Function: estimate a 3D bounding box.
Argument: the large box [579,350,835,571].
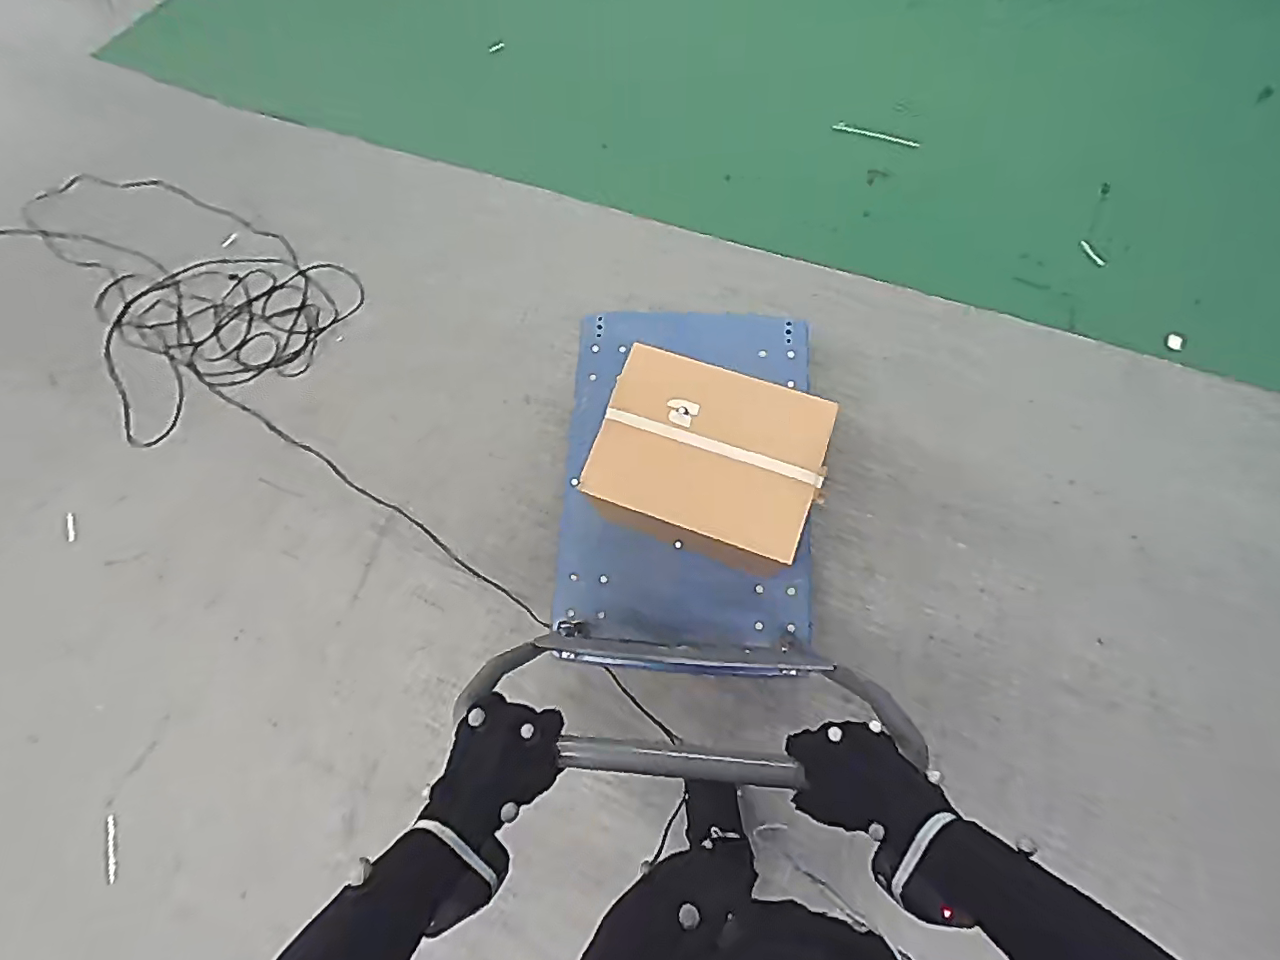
[{"bbox_3d":[0.138,-0.022,1.127,0.408,0.320,0.320,18,78,10],"label":"large box"}]
